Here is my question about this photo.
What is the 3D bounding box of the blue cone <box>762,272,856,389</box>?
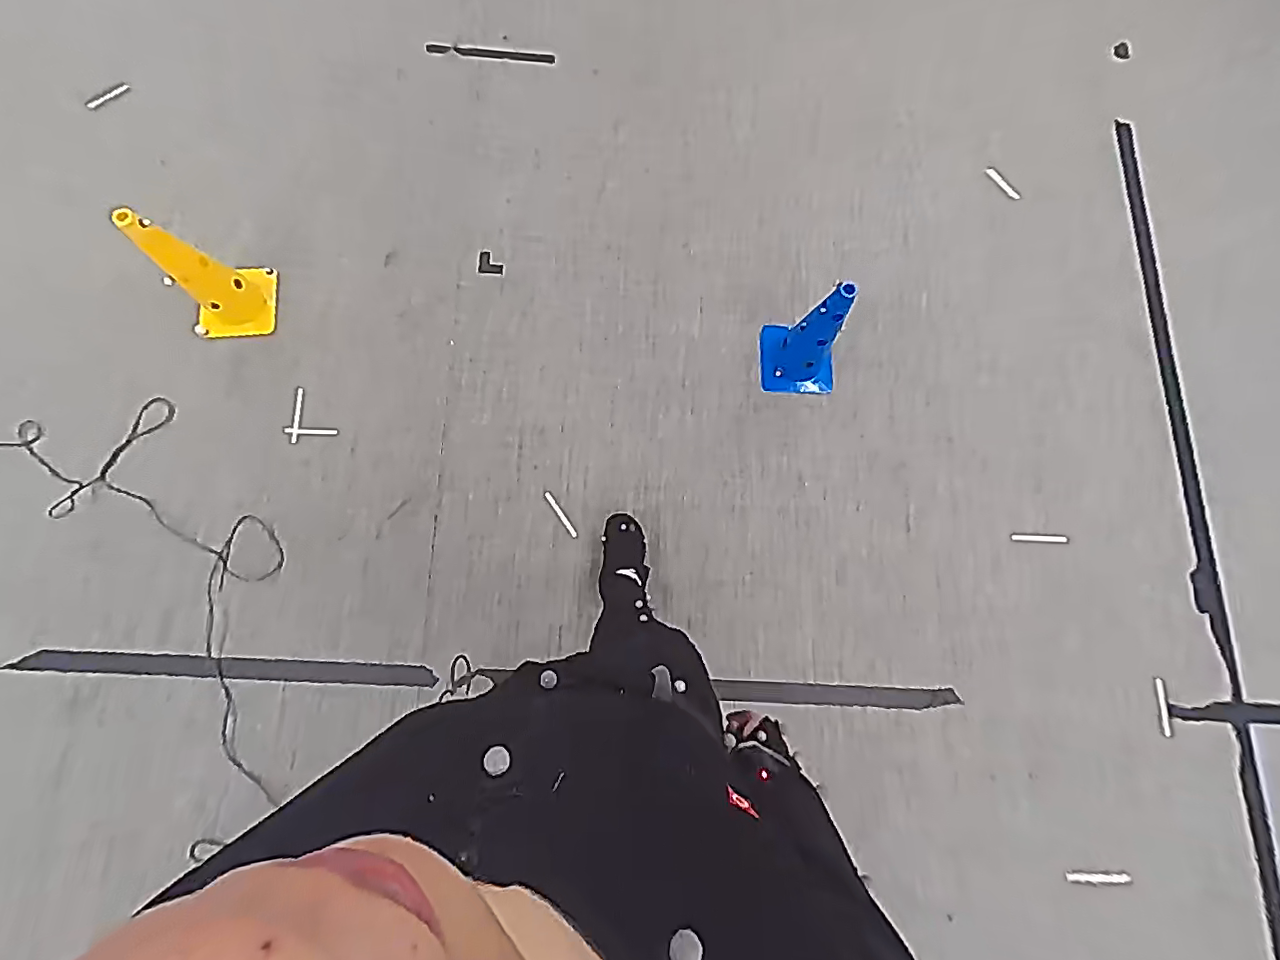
[{"bbox_3d":[0.439,-0.377,1.330,0.193,0.380,0.192,3,77,-1],"label":"blue cone"}]
